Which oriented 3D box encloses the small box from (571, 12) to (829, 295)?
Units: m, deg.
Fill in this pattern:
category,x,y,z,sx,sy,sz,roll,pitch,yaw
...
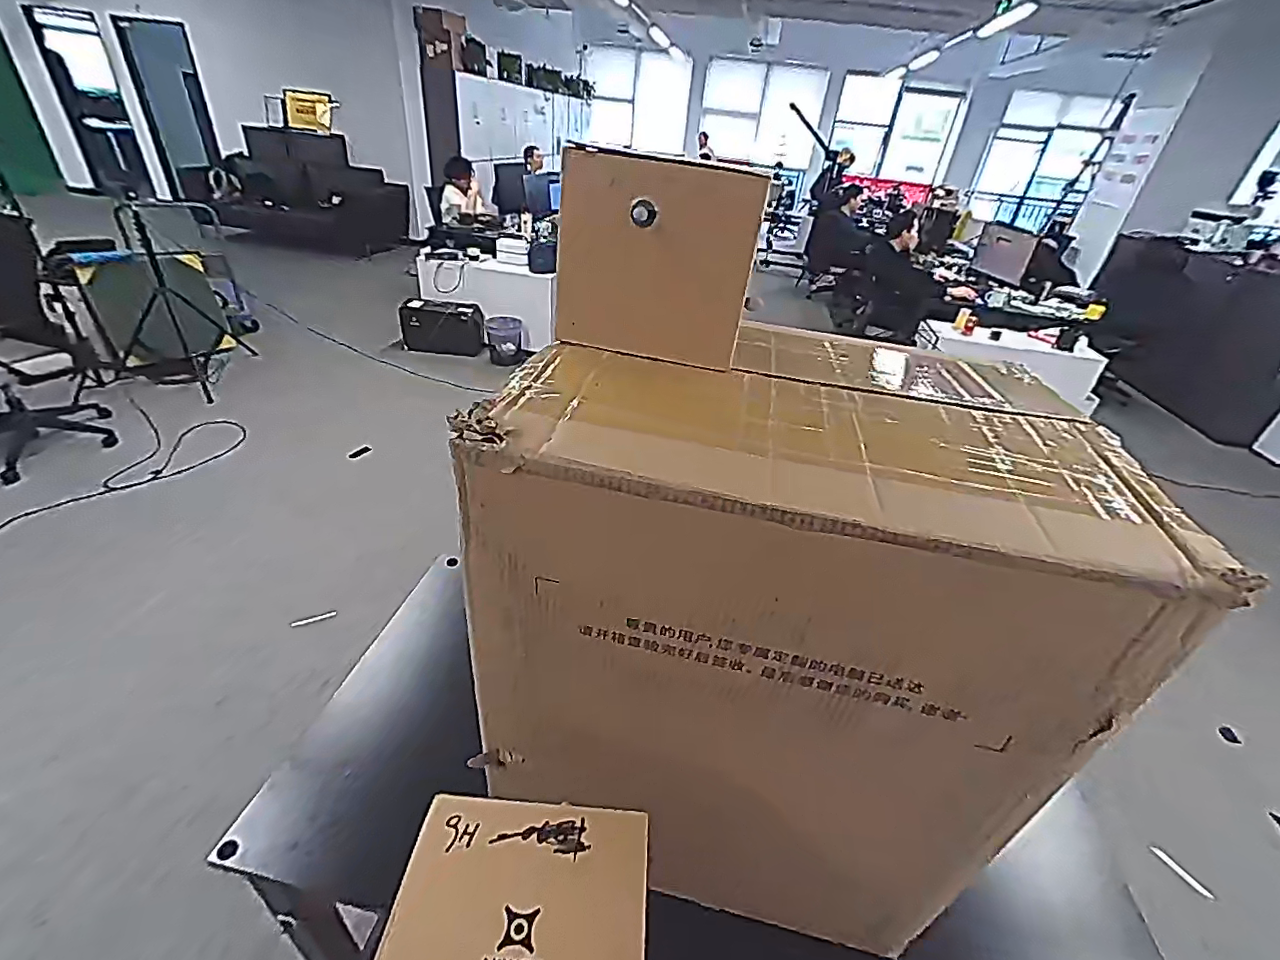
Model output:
category,x,y,z,sx,sy,sz,roll,pitch,yaw
small box,0.046,-0.268,0.468,0.179,0.176,0.168,12,32,6
